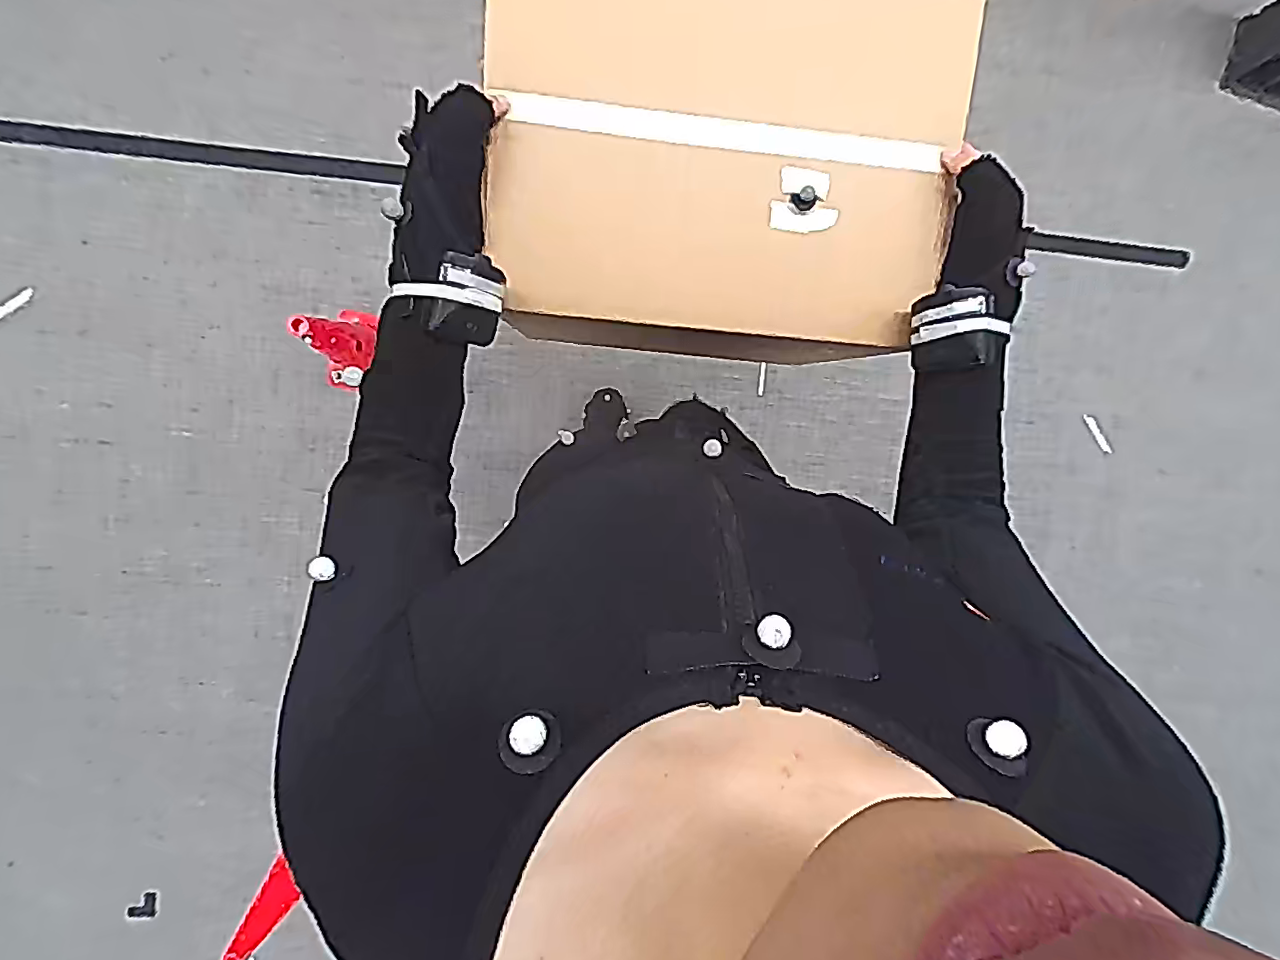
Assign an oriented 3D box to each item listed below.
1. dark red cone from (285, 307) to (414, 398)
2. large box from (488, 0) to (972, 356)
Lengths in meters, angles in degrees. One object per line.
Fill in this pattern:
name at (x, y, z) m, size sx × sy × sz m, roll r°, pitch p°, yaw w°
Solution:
dark red cone at (-0.661, -0.310, 1.193) m, size 0.201 × 0.394 × 0.202 m, roll 10°, pitch 93°, yaw -6°
large box at (0.061, -0.318, 0.602) m, size 0.408 × 0.320 × 0.320 m, roll 4°, pitch 99°, yaw -6°
